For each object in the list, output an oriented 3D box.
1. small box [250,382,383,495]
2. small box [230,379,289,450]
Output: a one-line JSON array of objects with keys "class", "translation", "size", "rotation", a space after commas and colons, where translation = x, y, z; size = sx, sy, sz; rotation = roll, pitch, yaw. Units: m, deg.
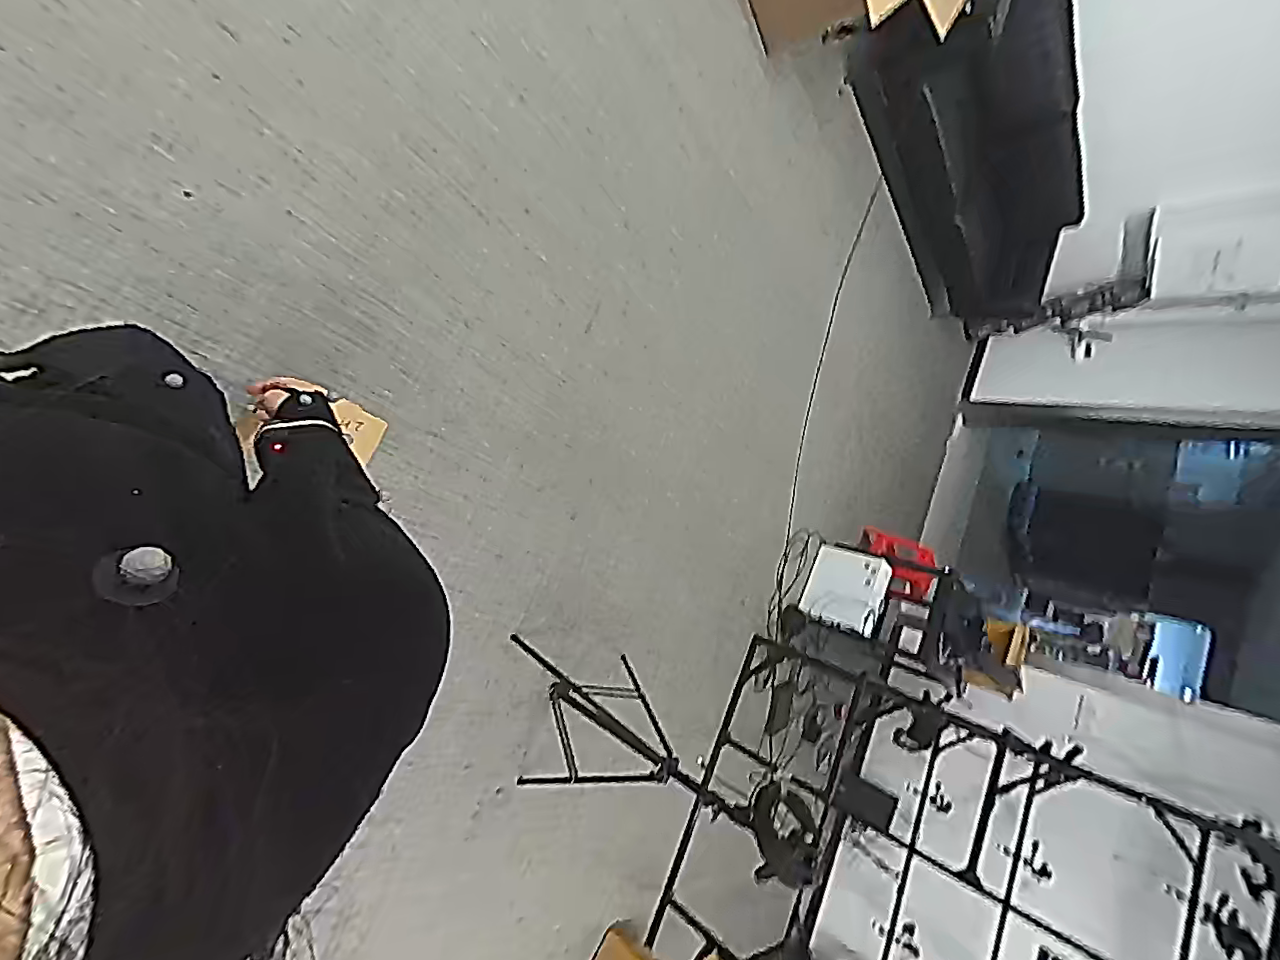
[{"class": "small box", "translation": [-0.686, -0.090, 1.141], "size": [0.168, 0.176, 0.179], "rotation": [36, 72, -45]}, {"class": "small box", "translation": [-0.807, -0.119, 1.253], "size": [0.179, 0.176, 0.168], "rotation": [36, 73, -44]}]
